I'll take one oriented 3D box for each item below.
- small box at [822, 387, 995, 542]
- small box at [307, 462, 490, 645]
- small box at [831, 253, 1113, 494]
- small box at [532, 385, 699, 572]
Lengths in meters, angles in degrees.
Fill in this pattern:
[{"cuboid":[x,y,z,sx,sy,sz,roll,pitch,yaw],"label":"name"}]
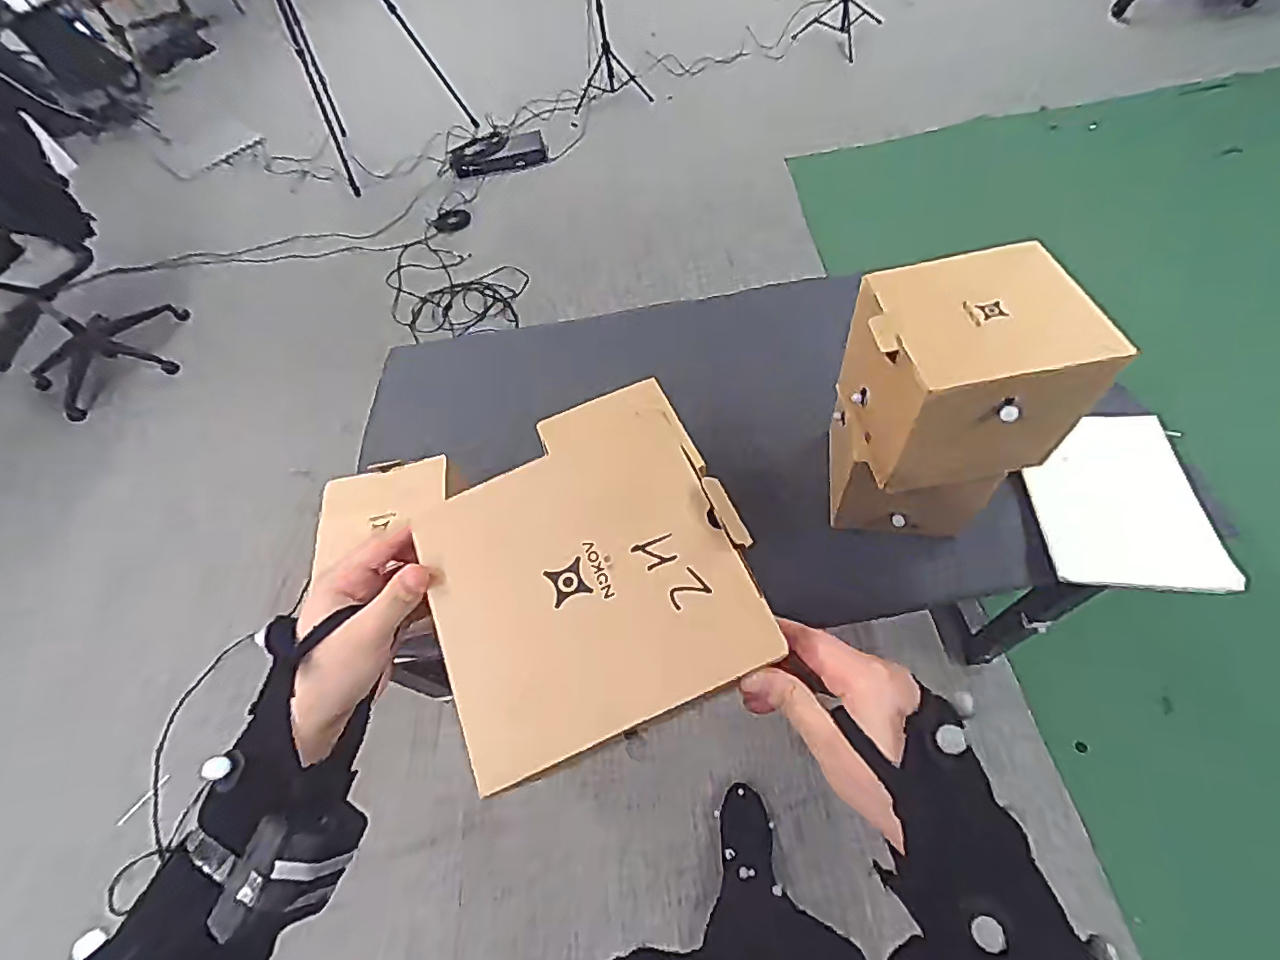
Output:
[{"cuboid":[0.340,-0.037,0.723,0.168,0.176,0.179,4,59,13],"label":"small box"},{"cuboid":[-0.314,0.104,0.743,0.168,0.176,0.179,-13,57,0],"label":"small box"},{"cuboid":[0.322,-0.104,0.574,0.179,0.176,0.168,-11,56,4],"label":"small box"},{"cuboid":[-0.028,0.004,0.762,0.179,0.176,0.168,-23,58,-6],"label":"small box"}]
